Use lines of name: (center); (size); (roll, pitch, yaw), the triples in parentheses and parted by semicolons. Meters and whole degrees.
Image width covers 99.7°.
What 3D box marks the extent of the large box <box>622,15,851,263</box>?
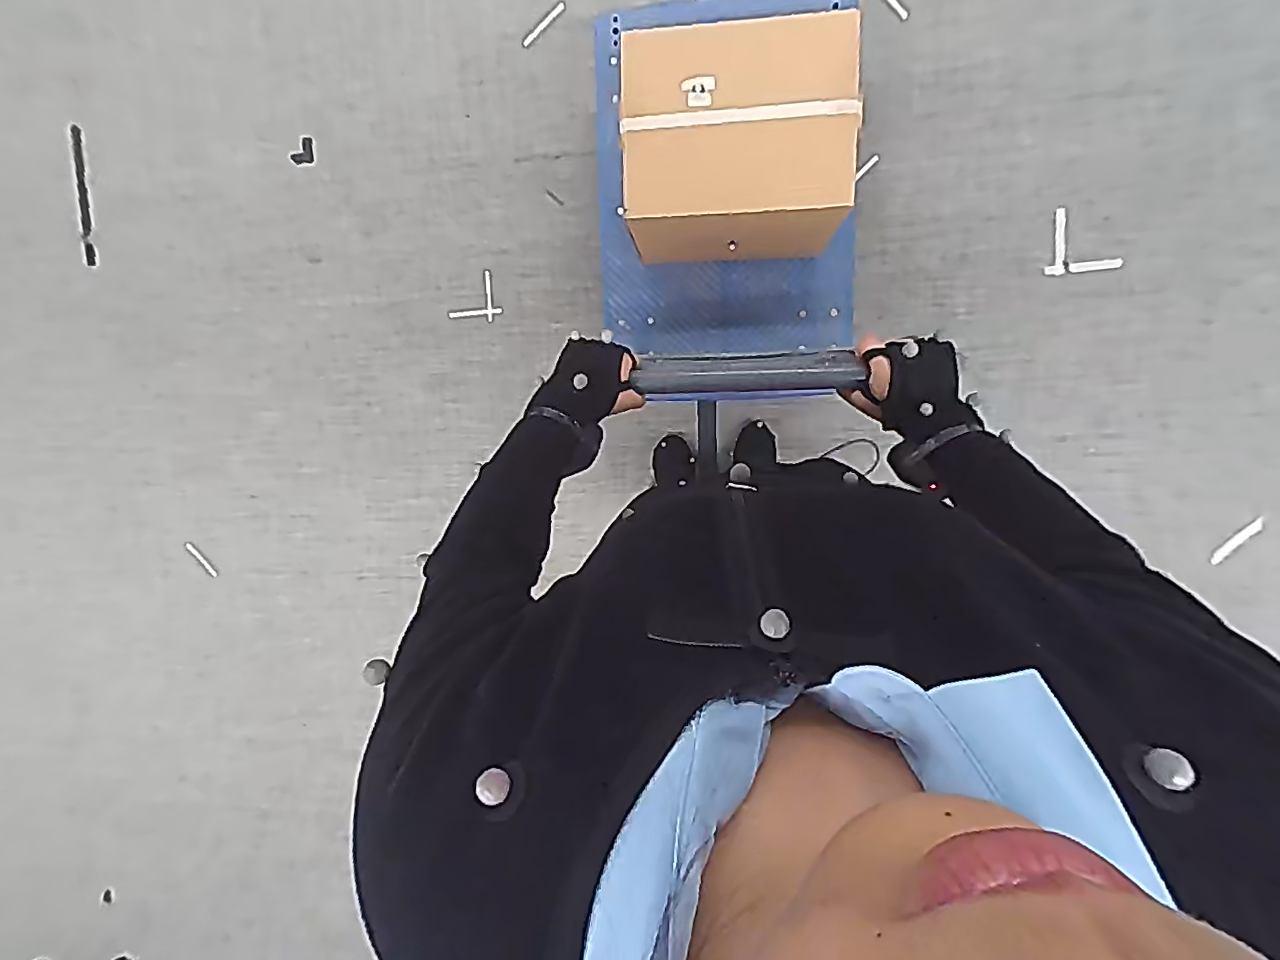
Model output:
large box: (0.190, -0.653, 1.107); (0.408, 0.320, 0.320); (0, 96, 8)
